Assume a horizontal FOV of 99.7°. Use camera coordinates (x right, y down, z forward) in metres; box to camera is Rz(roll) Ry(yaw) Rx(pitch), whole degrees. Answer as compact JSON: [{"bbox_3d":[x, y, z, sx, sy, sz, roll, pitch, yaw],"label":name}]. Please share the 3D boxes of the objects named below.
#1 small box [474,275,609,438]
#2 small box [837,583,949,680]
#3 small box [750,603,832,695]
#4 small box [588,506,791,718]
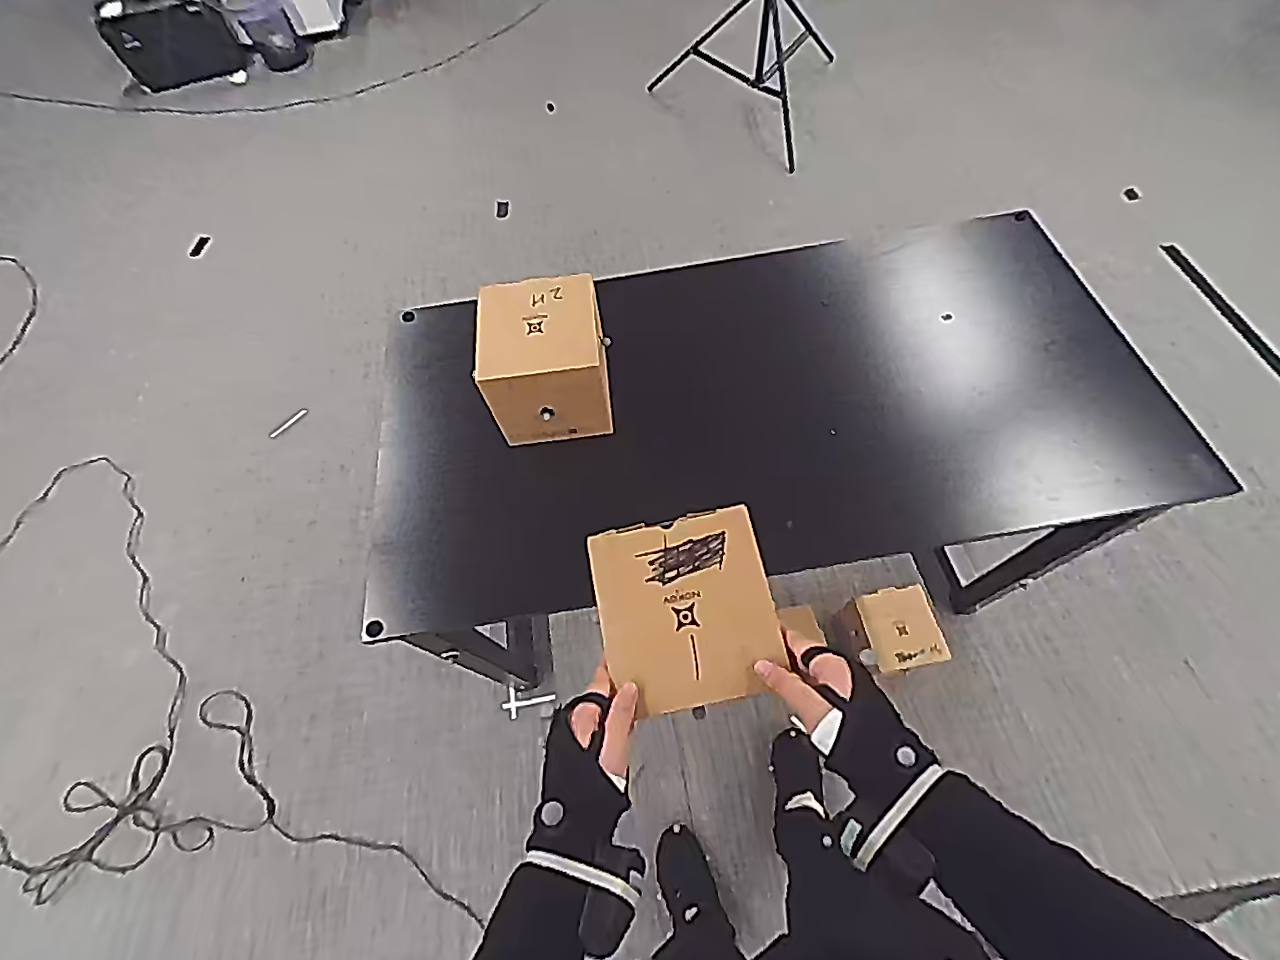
[{"bbox_3d":[-0.141,-0.176,0.819,0.168,0.176,0.179,-7,62,0],"label":"small box"},{"bbox_3d":[0.594,0.367,1.300,0.168,0.176,0.179,-11,62,-1],"label":"small box"},{"bbox_3d":[0.335,0.410,1.301,0.179,0.176,0.168,-11,61,0],"label":"small box"},{"bbox_3d":[0.046,0.148,0.587,0.168,0.176,0.179,-12,69,1],"label":"small box"}]
